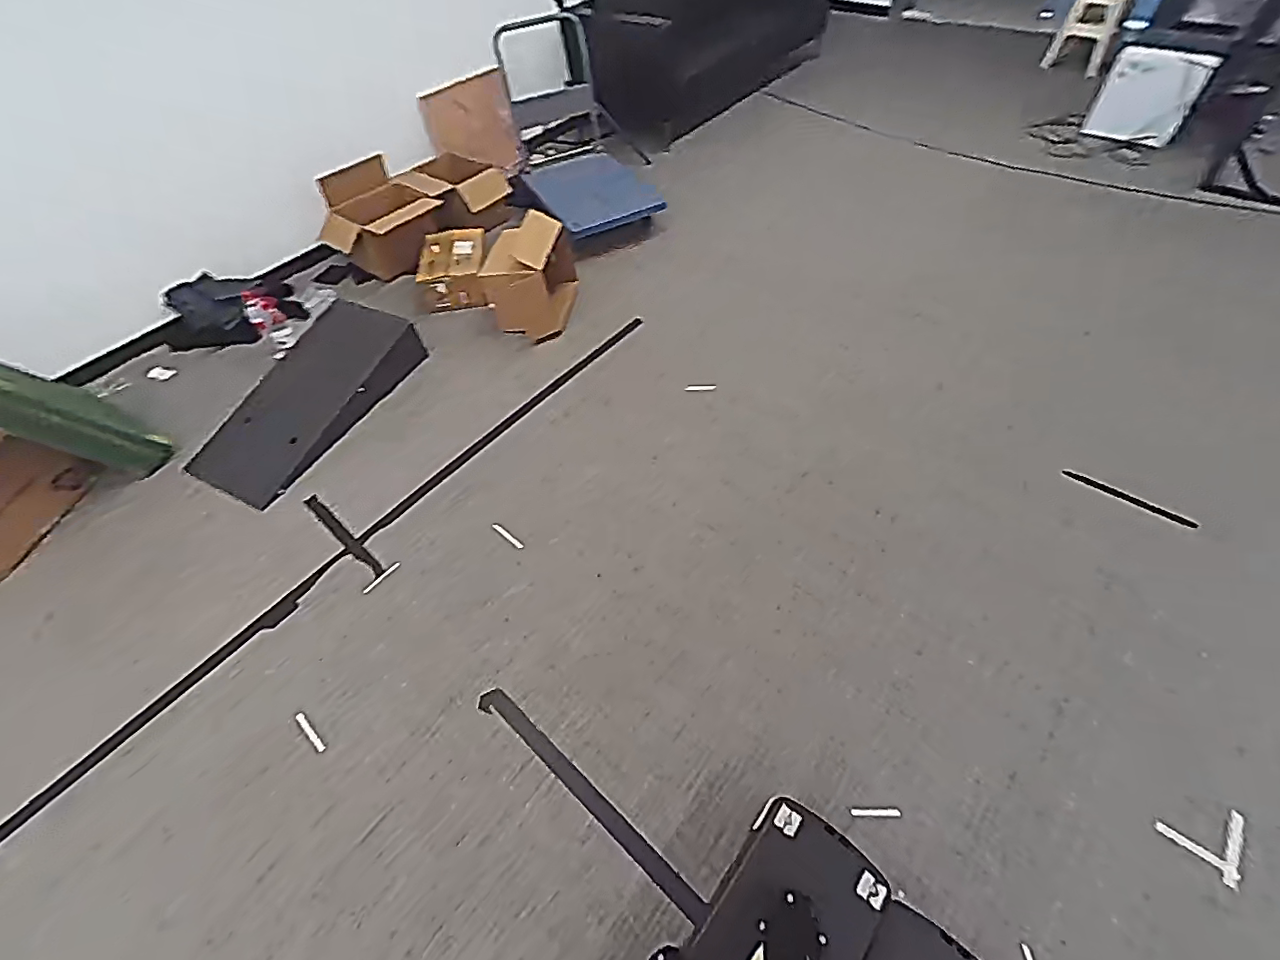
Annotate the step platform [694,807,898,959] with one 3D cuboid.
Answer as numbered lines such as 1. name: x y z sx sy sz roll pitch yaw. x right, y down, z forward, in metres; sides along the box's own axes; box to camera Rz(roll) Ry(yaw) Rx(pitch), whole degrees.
1. step platform: 0.241 1.047 1.093 0.286 0.204 0.684 32 61 25
